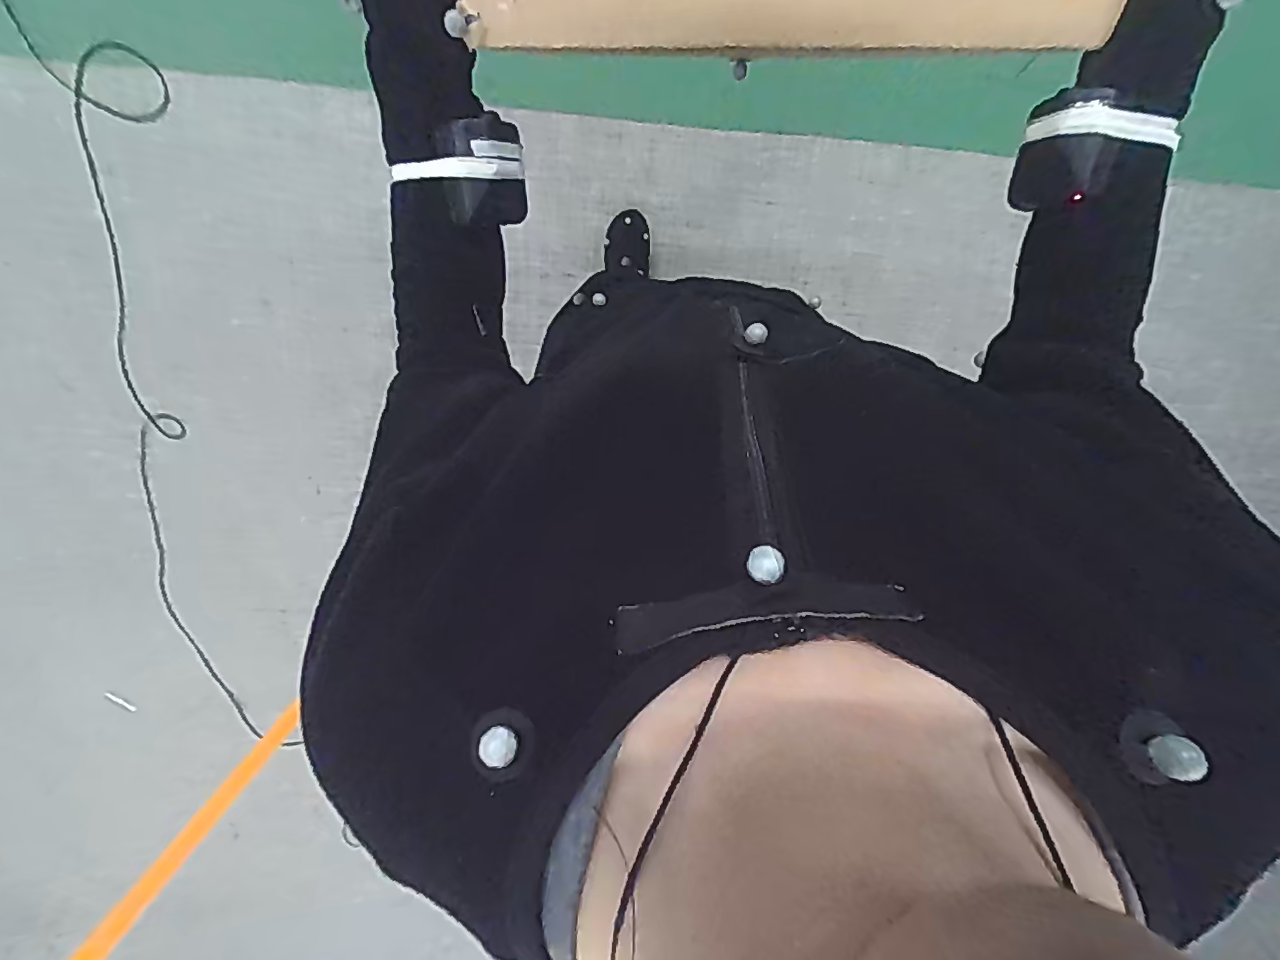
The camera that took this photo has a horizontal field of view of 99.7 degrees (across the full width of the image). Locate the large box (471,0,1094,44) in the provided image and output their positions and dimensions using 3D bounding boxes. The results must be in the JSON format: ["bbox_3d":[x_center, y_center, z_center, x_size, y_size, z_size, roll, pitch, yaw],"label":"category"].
[{"bbox_3d":[0.088,-0.502,0.371,0.408,0.320,0.320,-1,128,-1],"label":"large box"}]
